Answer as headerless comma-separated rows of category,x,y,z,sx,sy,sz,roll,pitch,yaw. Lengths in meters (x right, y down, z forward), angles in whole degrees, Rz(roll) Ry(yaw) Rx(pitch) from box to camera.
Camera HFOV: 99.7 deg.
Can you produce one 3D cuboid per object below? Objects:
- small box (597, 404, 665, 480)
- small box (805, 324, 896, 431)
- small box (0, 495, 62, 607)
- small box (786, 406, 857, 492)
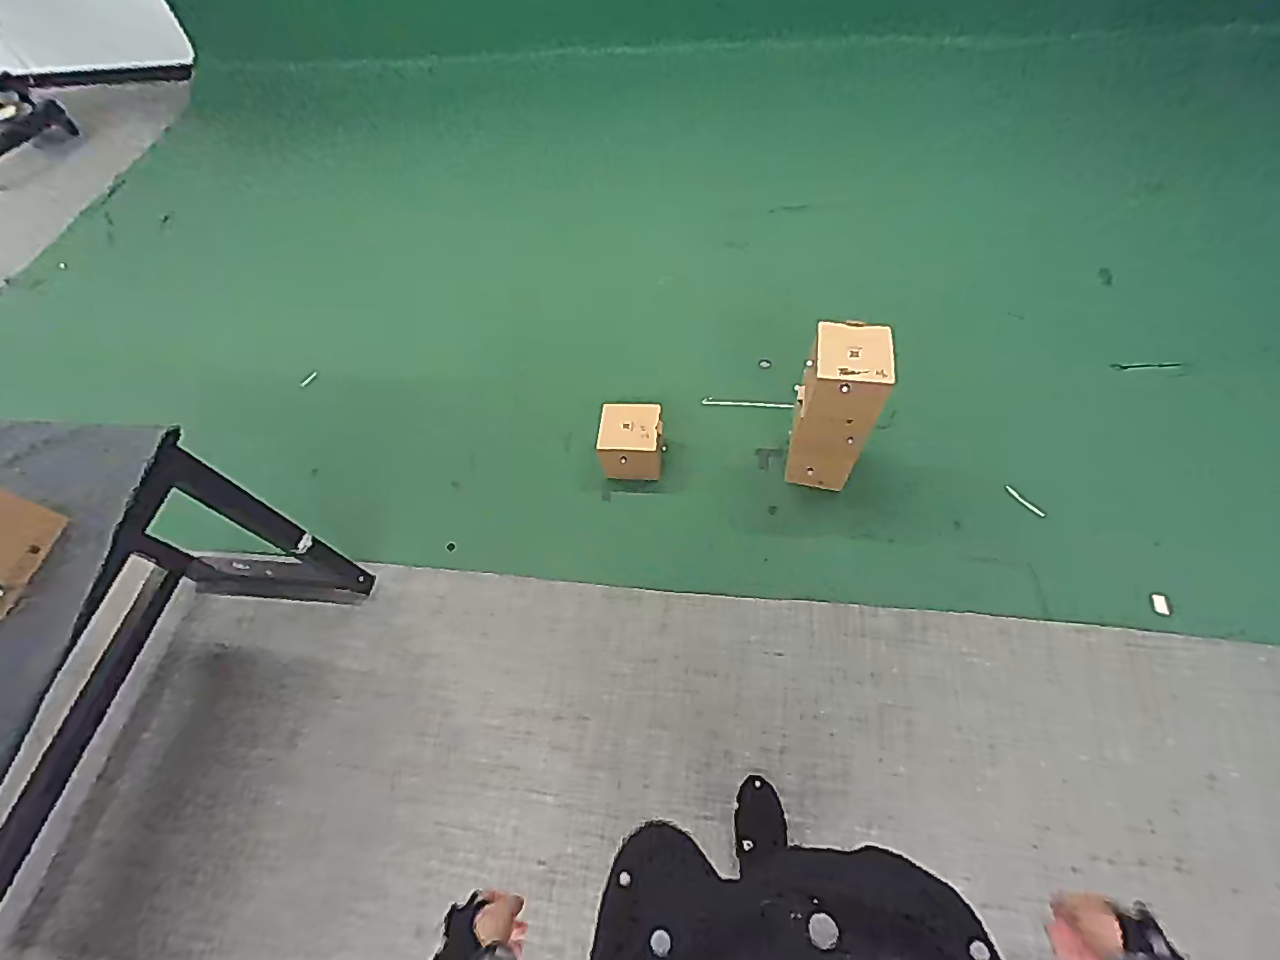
small box,-0.022,-0.111,1.637,0.179,0.176,0.168,3,61,7
small box,0.493,-0.241,1.287,0.168,0.176,0.179,7,60,8
small box,-1.008,0.093,0.766,0.179,0.176,0.168,2,61,10
small box,0.527,-0.086,1.575,0.168,0.176,0.179,11,61,11
